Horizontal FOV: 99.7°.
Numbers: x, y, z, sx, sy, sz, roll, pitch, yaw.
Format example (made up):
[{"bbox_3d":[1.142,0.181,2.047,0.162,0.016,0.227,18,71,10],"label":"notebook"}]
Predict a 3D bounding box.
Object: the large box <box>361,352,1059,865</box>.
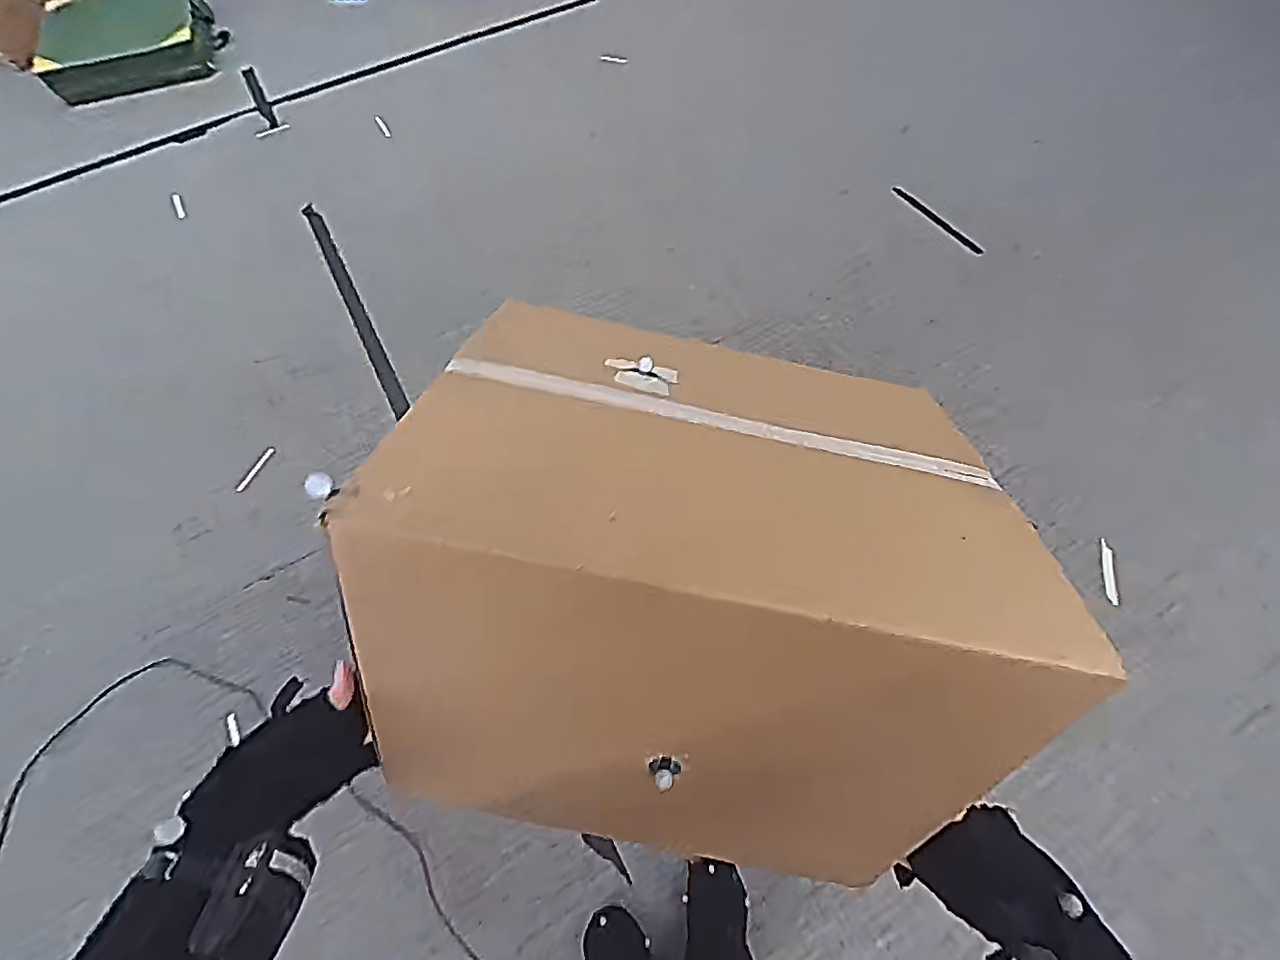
[{"bbox_3d":[0.037,0.111,0.506,0.408,0.320,0.320,9,36,0],"label":"large box"}]
